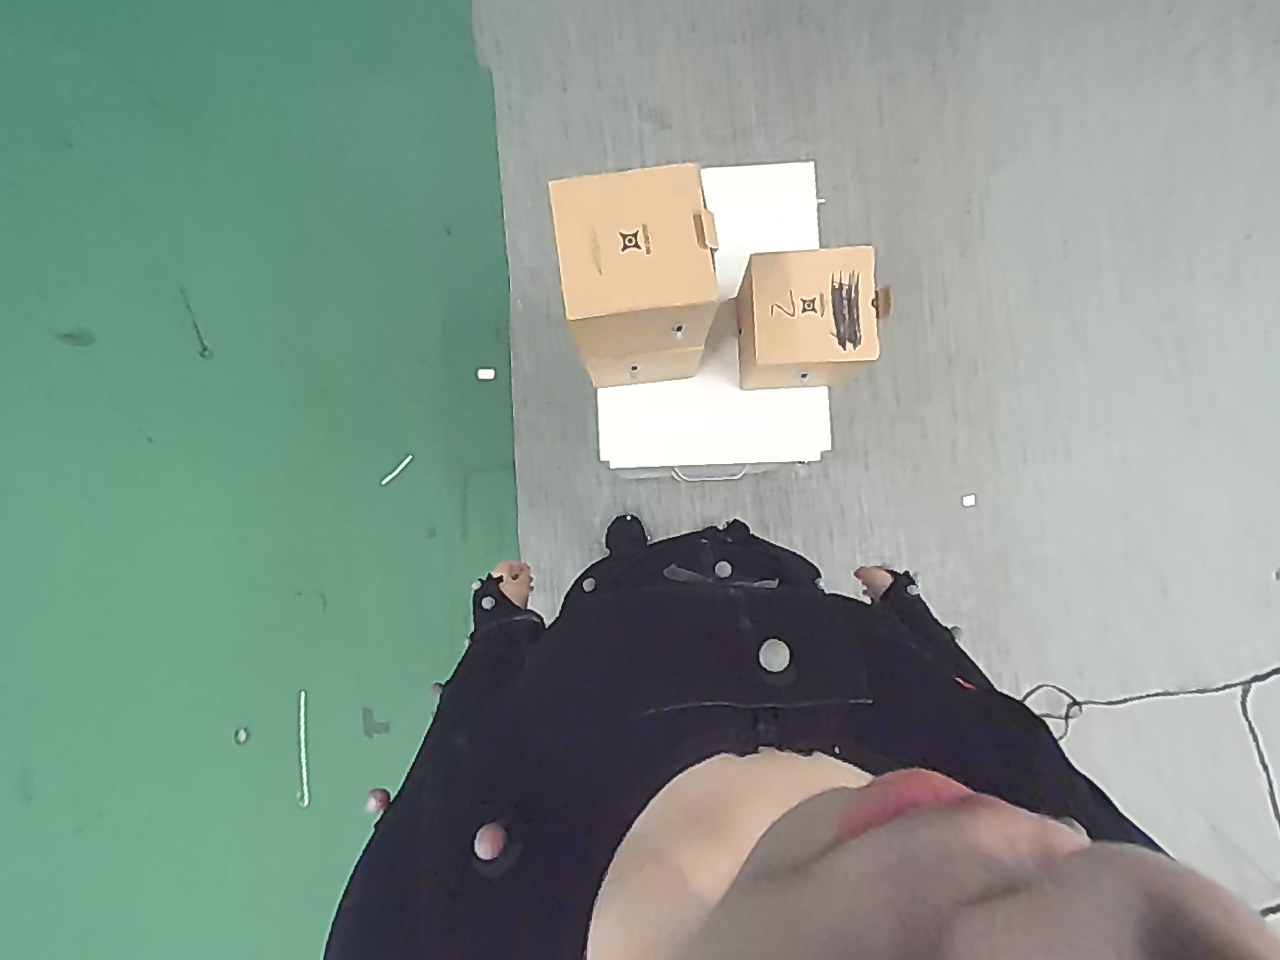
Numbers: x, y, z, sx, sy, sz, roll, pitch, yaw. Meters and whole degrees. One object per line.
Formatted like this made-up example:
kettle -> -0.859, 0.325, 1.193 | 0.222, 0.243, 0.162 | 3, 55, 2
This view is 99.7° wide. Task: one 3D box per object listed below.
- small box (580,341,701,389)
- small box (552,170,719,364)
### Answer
small box -> -0.004, -0.248, 0.855 | 0.179, 0.176, 0.168 | -7, 87, 1
small box -> -0.006, -0.259, 0.693 | 0.179, 0.176, 0.168 | -8, 86, 0
